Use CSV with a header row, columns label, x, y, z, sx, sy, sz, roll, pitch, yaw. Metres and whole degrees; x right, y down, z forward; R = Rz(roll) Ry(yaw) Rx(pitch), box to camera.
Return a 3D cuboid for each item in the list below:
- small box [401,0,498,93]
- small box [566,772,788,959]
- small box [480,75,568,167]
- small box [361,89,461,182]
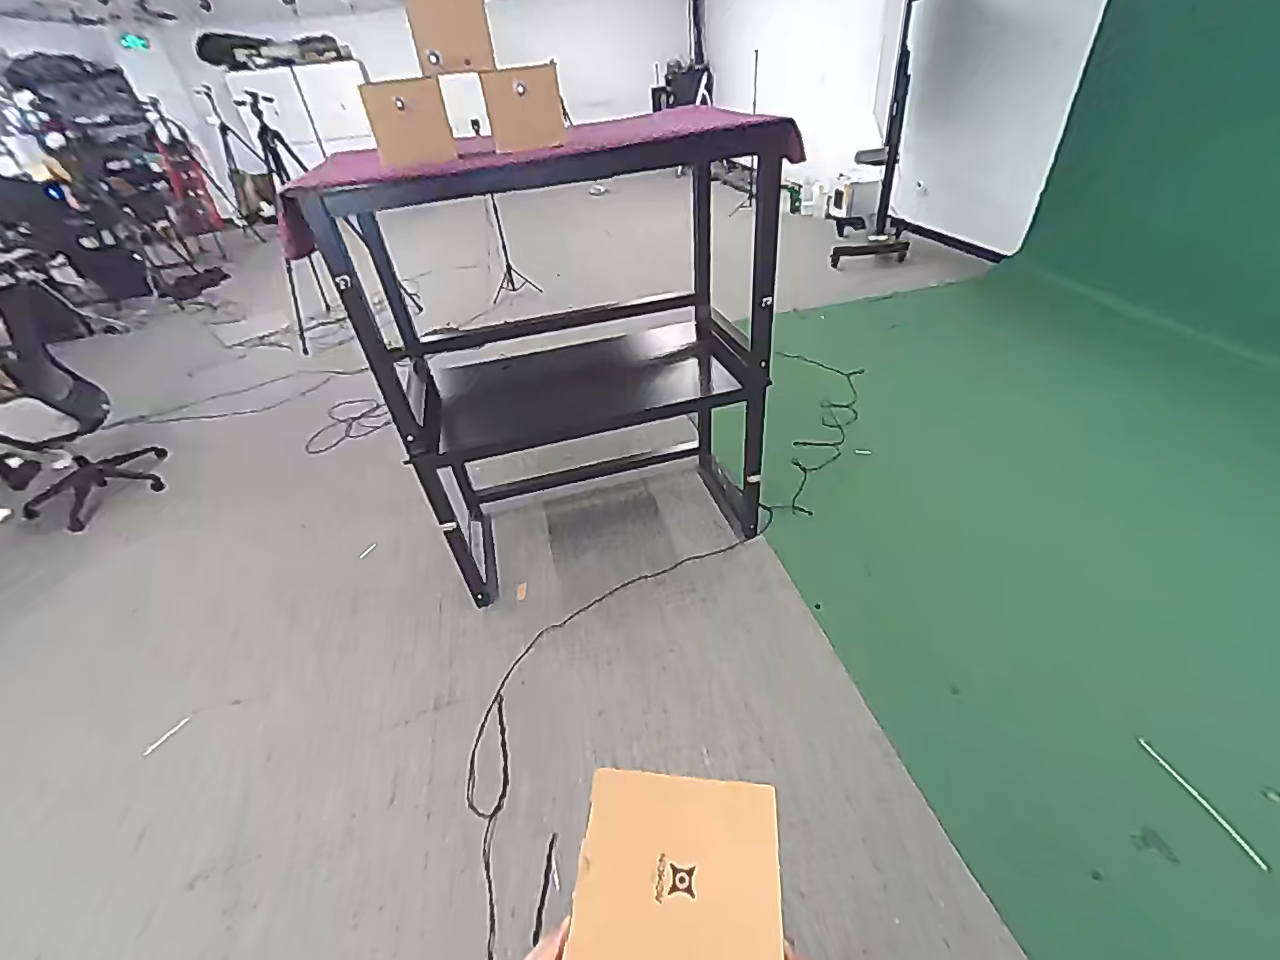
label,x,y,z,sx,sy,sz,roll,pitch,yaw
small box,-0.426,-1.001,1.238,0.168,0.176,0.179,-12,37,-7
small box,0.041,0.404,0.514,0.179,0.176,0.168,0,41,10
small box,-0.287,-0.892,1.345,0.179,0.176,0.168,-13,38,-8
small box,-0.548,-0.837,1.313,0.179,0.176,0.168,-14,39,-10
